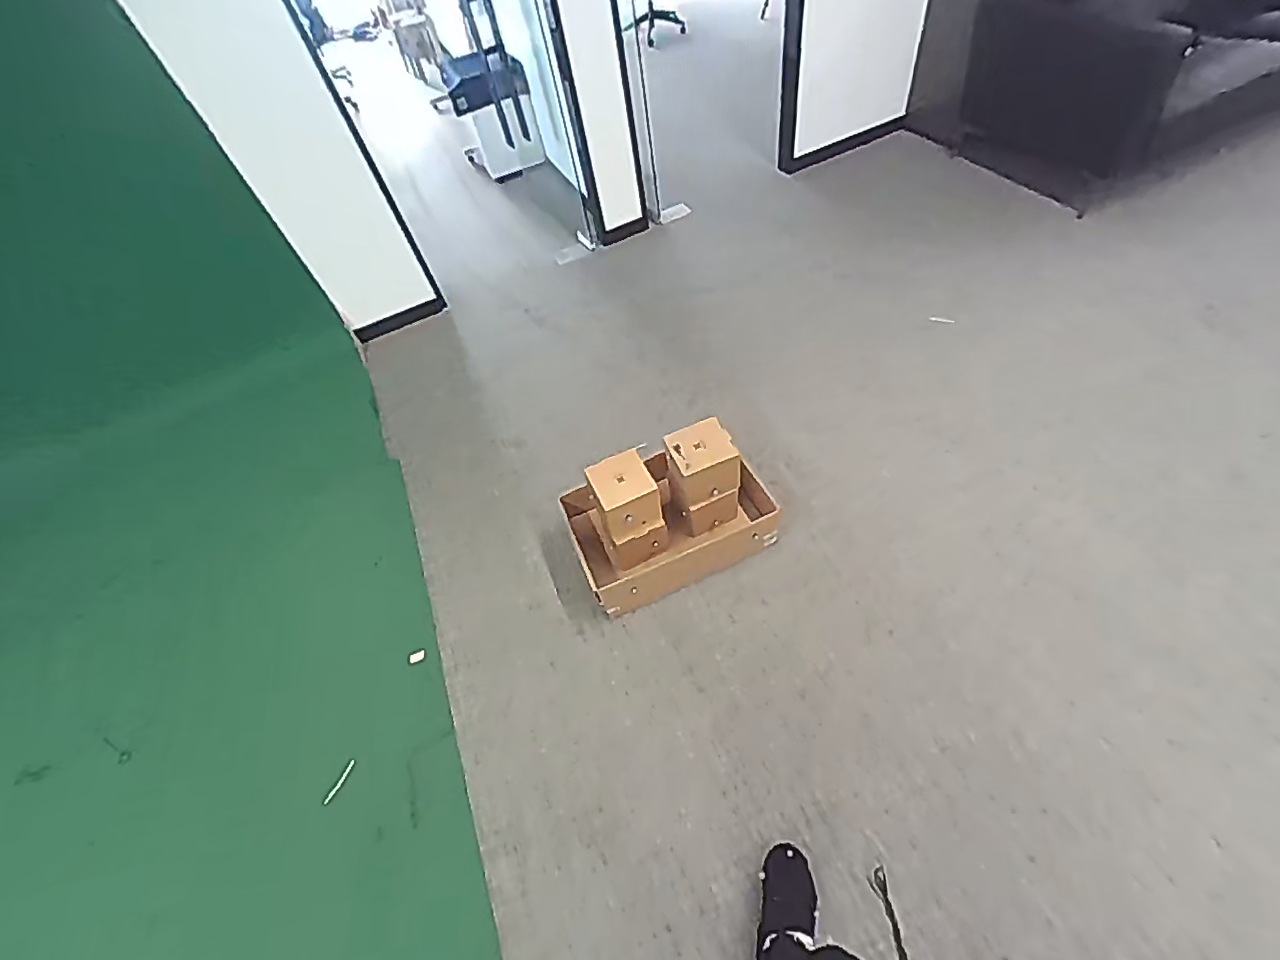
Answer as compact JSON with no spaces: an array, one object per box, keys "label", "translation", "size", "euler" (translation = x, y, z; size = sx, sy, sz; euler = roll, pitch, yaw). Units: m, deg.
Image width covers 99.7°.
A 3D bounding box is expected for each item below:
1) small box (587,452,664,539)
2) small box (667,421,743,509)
[{"label":"small box","translation":[-0.040,0.054,1.616],"size":[0.168,0.176,0.179],"euler":[-24,52,-10]},{"label":"small box","translation":[0.197,-0.042,1.639],"size":[0.179,0.176,0.168],"euler":[-21,53,-5]}]
